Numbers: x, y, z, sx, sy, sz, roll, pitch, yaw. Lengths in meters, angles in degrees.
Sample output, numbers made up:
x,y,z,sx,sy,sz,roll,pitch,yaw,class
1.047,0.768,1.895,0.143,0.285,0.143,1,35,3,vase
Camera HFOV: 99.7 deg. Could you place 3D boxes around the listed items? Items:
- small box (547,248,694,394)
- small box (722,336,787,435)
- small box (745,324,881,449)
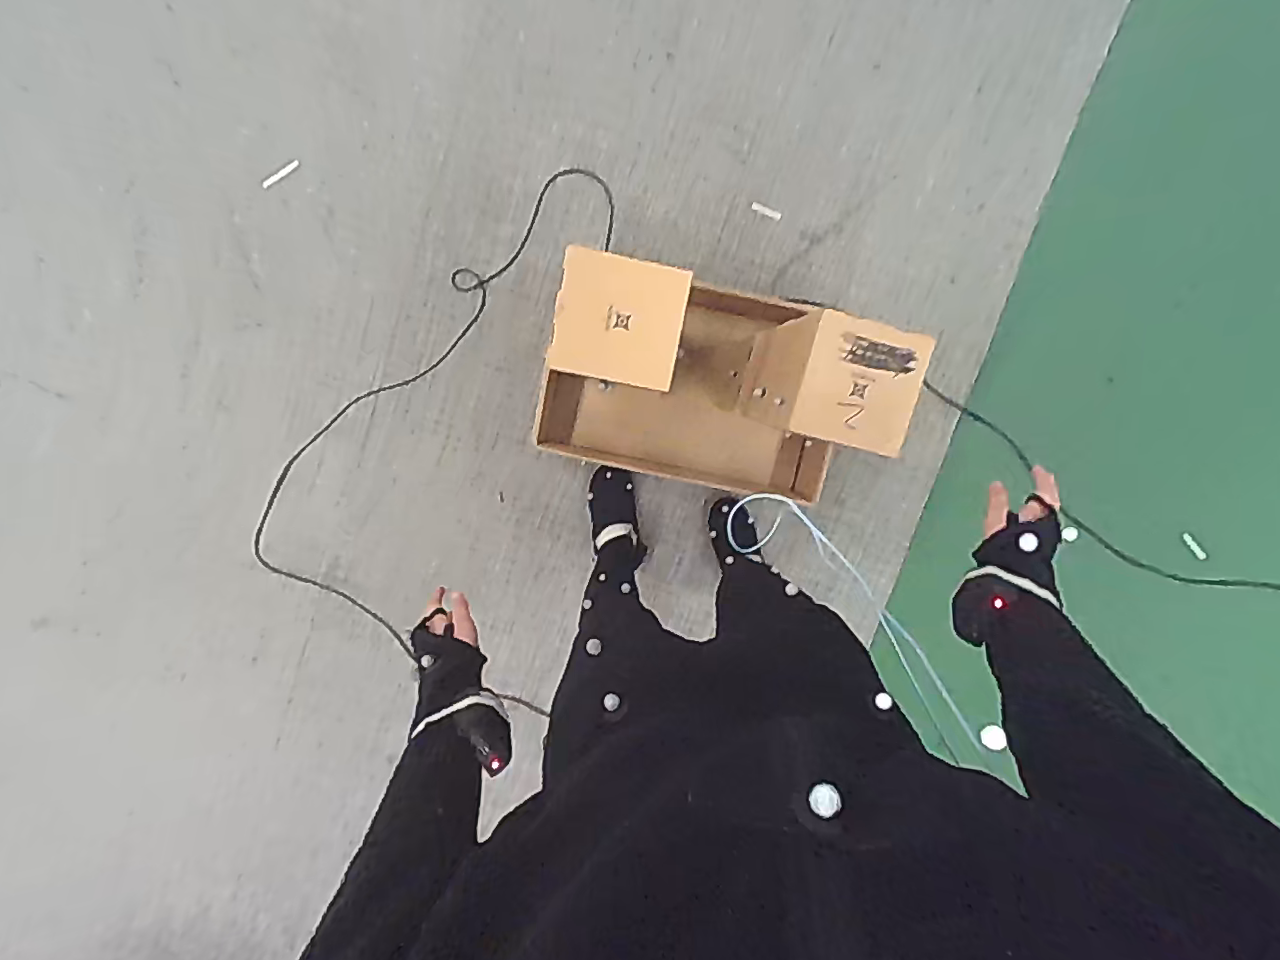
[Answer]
x,y,z,sx,sy,sz,roll,pitch,yaw,class
-0.029,-0.229,0.816,0.179,0.176,0.168,11,99,-2,small box
0.287,-0.194,1.157,0.179,0.176,0.168,16,97,-3,small box
0.305,-0.167,0.995,0.168,0.176,0.179,16,96,-4,small box
